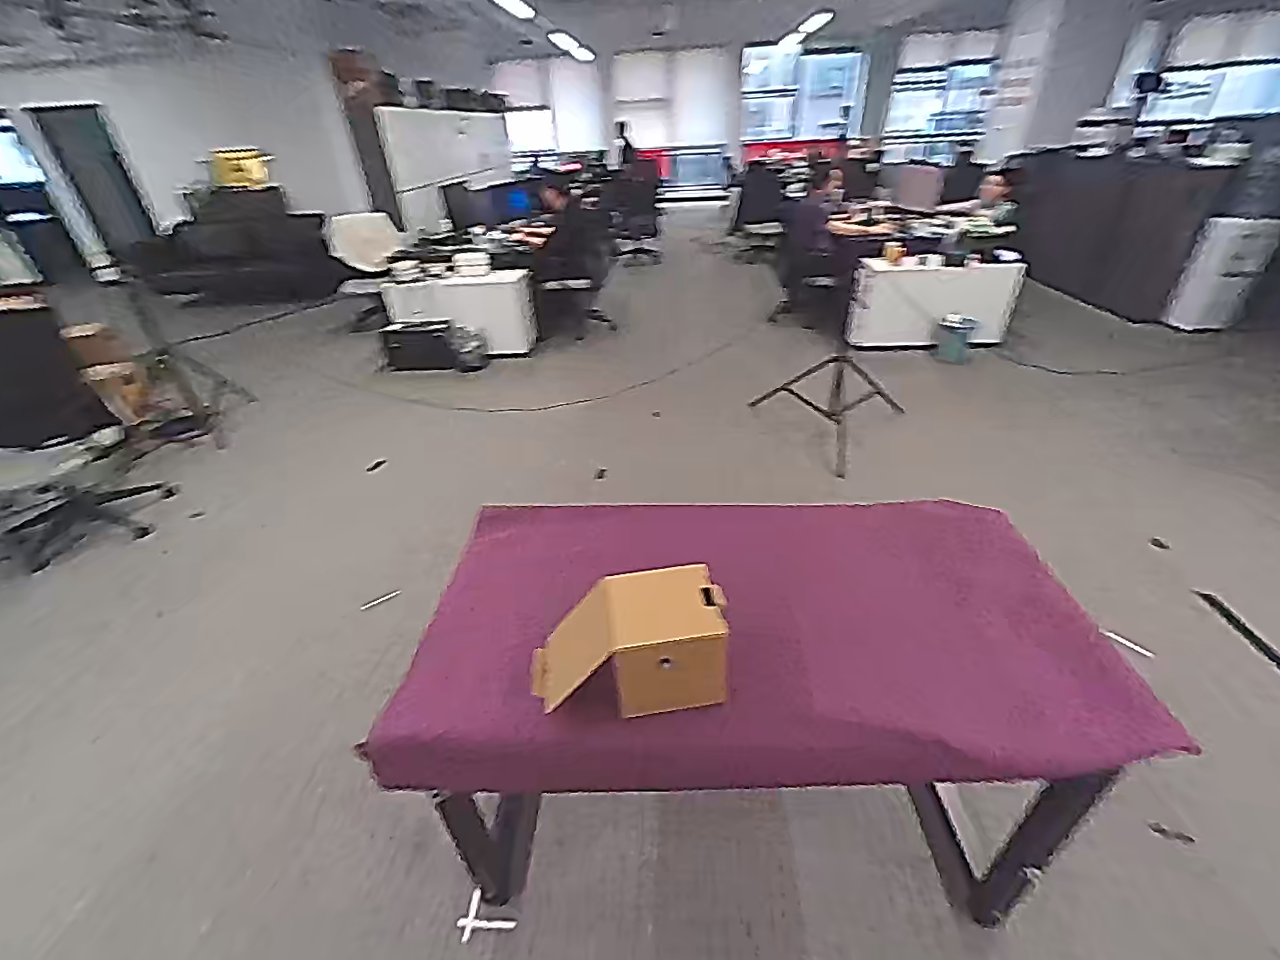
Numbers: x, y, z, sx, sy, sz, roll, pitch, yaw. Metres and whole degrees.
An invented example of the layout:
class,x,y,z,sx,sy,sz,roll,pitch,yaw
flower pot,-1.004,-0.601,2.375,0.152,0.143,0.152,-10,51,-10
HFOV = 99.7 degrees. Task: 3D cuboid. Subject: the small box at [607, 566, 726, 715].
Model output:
class,x,y,z,sx,sy,sz,roll,pitch,yaw
small box,0.044,0.272,0.914,0.179,0.176,0.168,-7,32,-4
